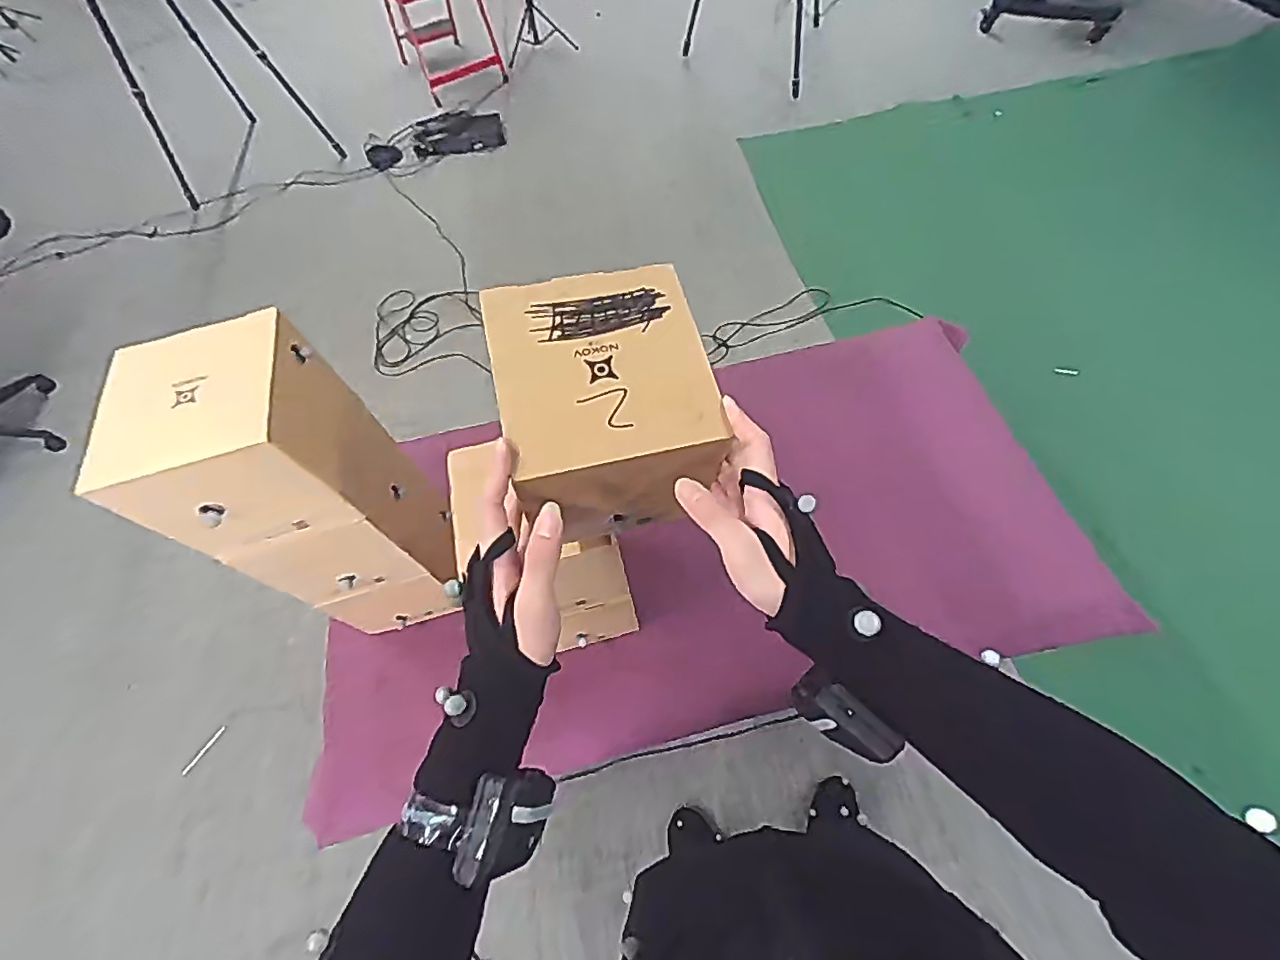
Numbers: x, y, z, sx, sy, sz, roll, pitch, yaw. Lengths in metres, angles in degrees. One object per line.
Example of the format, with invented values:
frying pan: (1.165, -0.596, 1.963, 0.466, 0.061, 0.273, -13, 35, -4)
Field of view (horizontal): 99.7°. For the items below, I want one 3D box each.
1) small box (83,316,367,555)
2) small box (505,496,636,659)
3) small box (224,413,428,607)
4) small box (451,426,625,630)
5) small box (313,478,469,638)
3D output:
small box: (-0.412, -0.035, 0.575, 0.168, 0.176, 0.179, -17, 60, -3)
small box: (-0.108, 0.149, 0.815, 0.168, 0.176, 0.179, -15, 60, -3)
small box: (-0.397, 0.045, 0.715, 0.168, 0.176, 0.179, -16, 61, -3)
small box: (-0.122, 0.065, 0.675, 0.168, 0.176, 0.179, -15, 59, -2)
small box: (-0.384, 0.128, 0.856, 0.168, 0.176, 0.179, -16, 60, -3)
